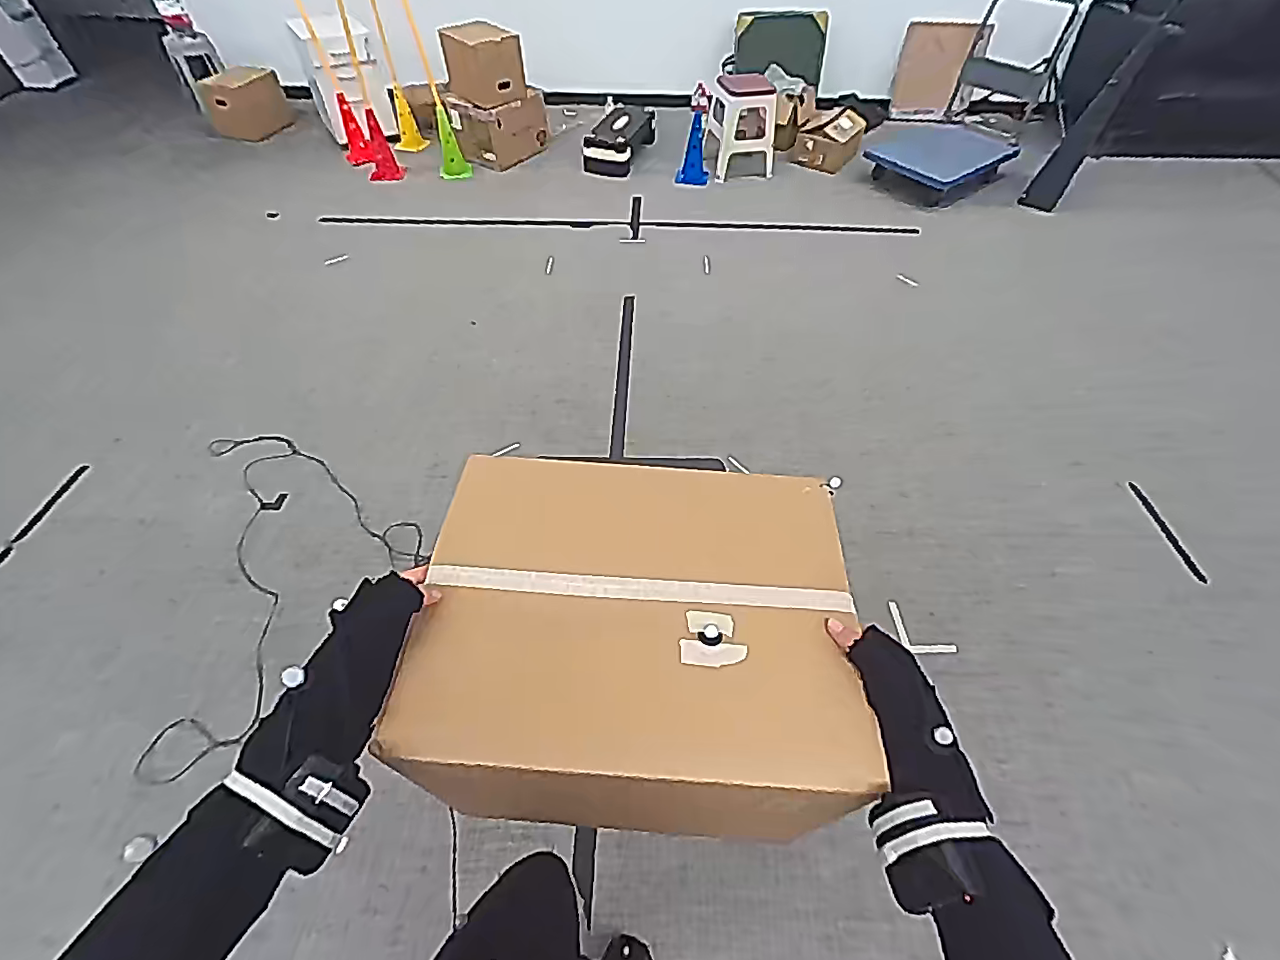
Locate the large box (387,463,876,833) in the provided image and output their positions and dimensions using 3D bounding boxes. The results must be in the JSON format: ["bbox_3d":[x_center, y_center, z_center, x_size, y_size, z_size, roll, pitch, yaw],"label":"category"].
[{"bbox_3d":[-0.006,0.204,0.639,0.408,0.320,0.320,4,51,1],"label":"large box"}]
